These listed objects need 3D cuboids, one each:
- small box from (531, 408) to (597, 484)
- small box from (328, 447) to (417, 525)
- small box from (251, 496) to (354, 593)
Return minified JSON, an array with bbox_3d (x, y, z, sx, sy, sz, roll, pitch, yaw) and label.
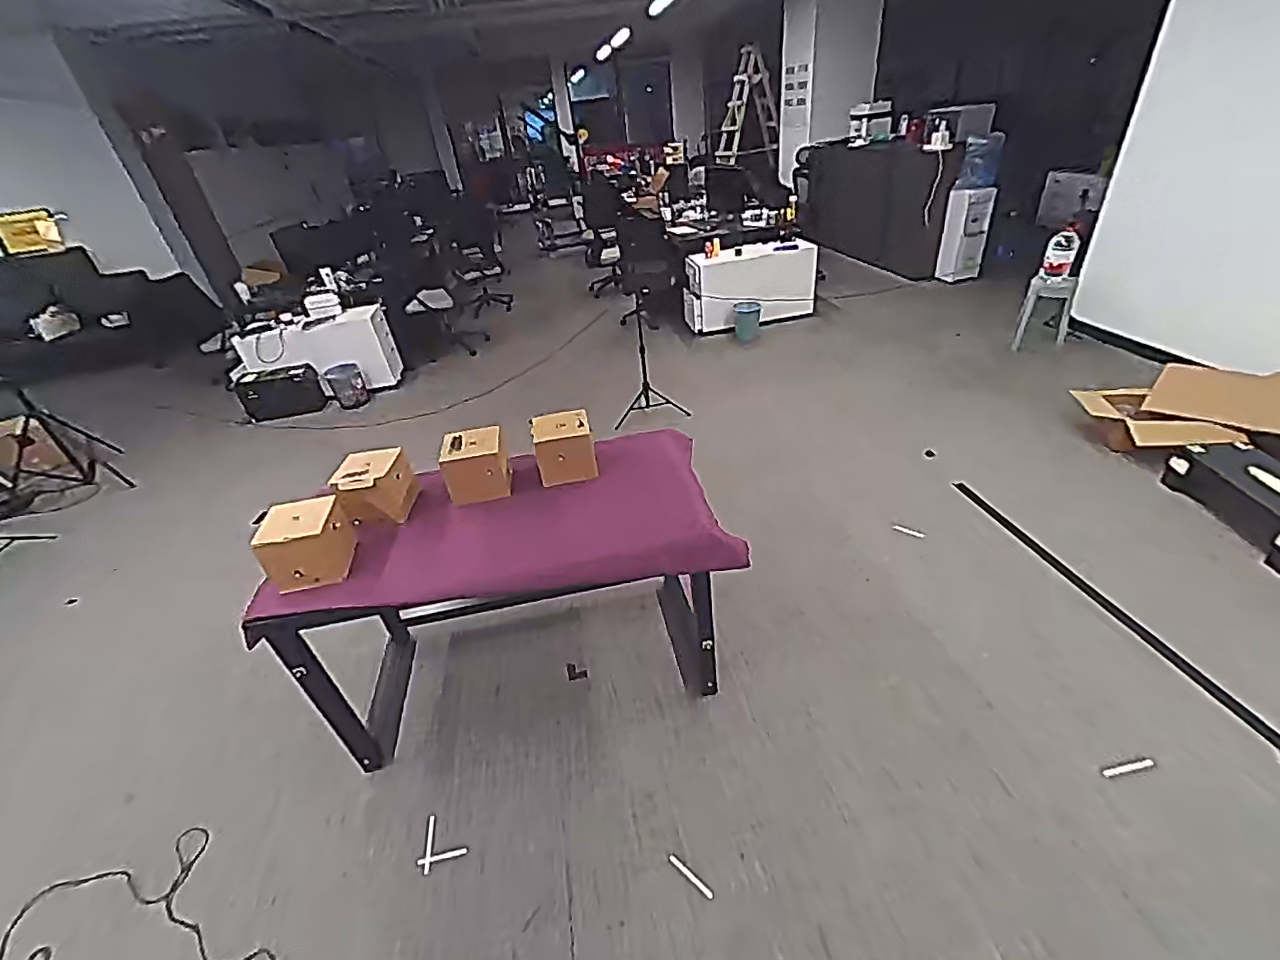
[{"bbox_3d":[-0.241,-0.106,1.721,0.179,0.176,0.168,-11,37,-4],"label":"small box"},{"bbox_3d":[-0.800,0.025,1.641,0.168,0.176,0.179,-7,34,0],"label":"small box"},{"bbox_3d":[-0.885,0.170,1.440,0.168,0.176,0.179,-11,35,-9],"label":"small box"}]
